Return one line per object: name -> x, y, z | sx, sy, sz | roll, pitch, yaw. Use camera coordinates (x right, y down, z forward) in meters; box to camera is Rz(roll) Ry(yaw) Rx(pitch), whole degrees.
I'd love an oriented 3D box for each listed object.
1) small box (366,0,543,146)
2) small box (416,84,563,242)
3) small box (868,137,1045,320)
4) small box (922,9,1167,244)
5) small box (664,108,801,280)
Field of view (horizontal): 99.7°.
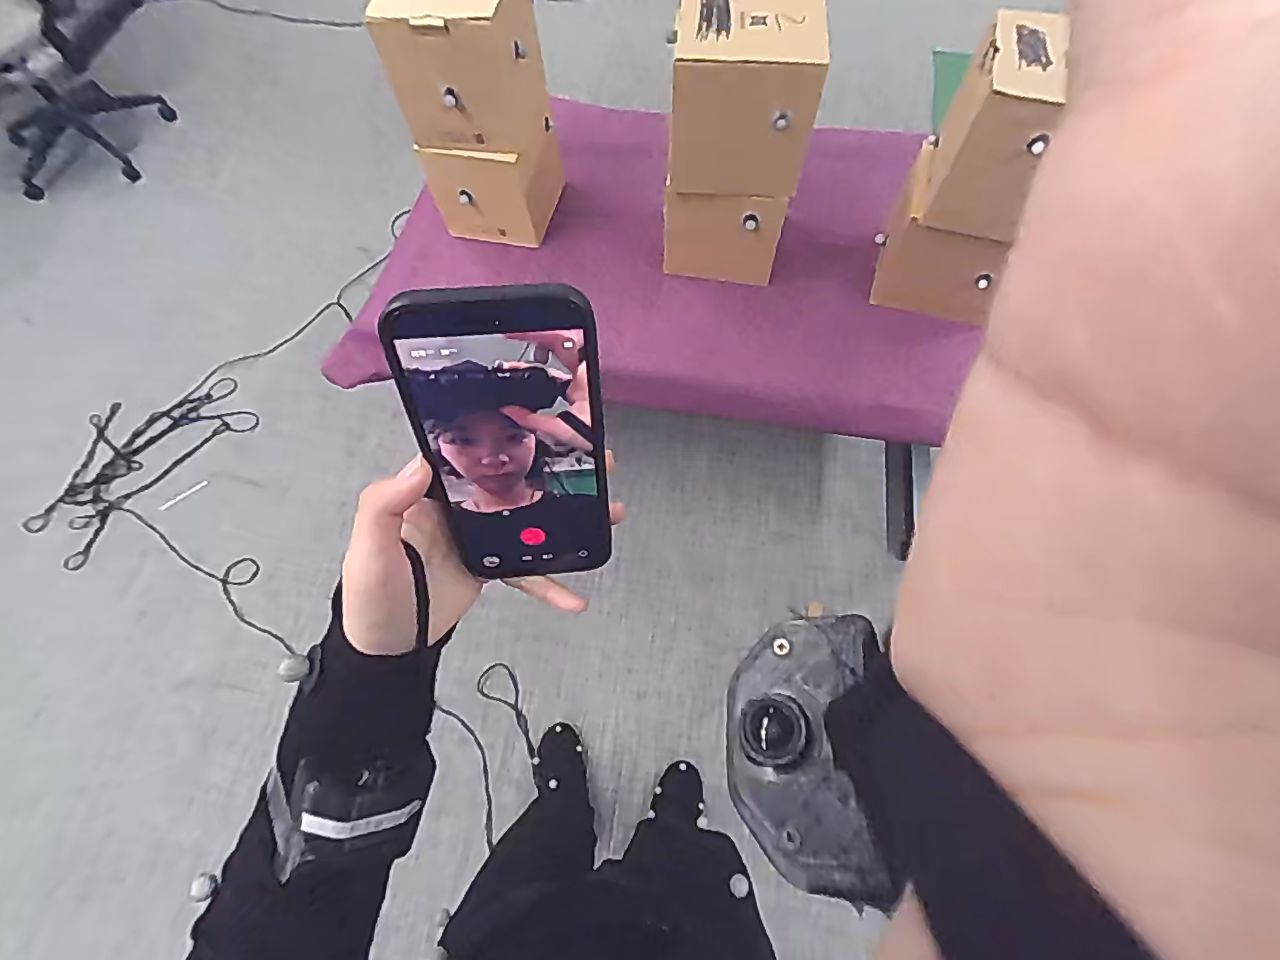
small box -> -0.242, -0.604, 0.760 | 0.168, 0.176, 0.179 | 7, 68, 4
small box -> -0.238, -0.531, 0.907 | 0.168, 0.176, 0.179 | 11, 68, 7
small box -> 0.468, -0.366, 0.808 | 0.179, 0.176, 0.168 | 16, 68, 10
small box -> 0.467, -0.415, 0.651 | 0.179, 0.176, 0.168 | 16, 68, 8
small box -> 0.139, -0.441, 0.852 | 0.179, 0.176, 0.168 | 11, 67, 7
